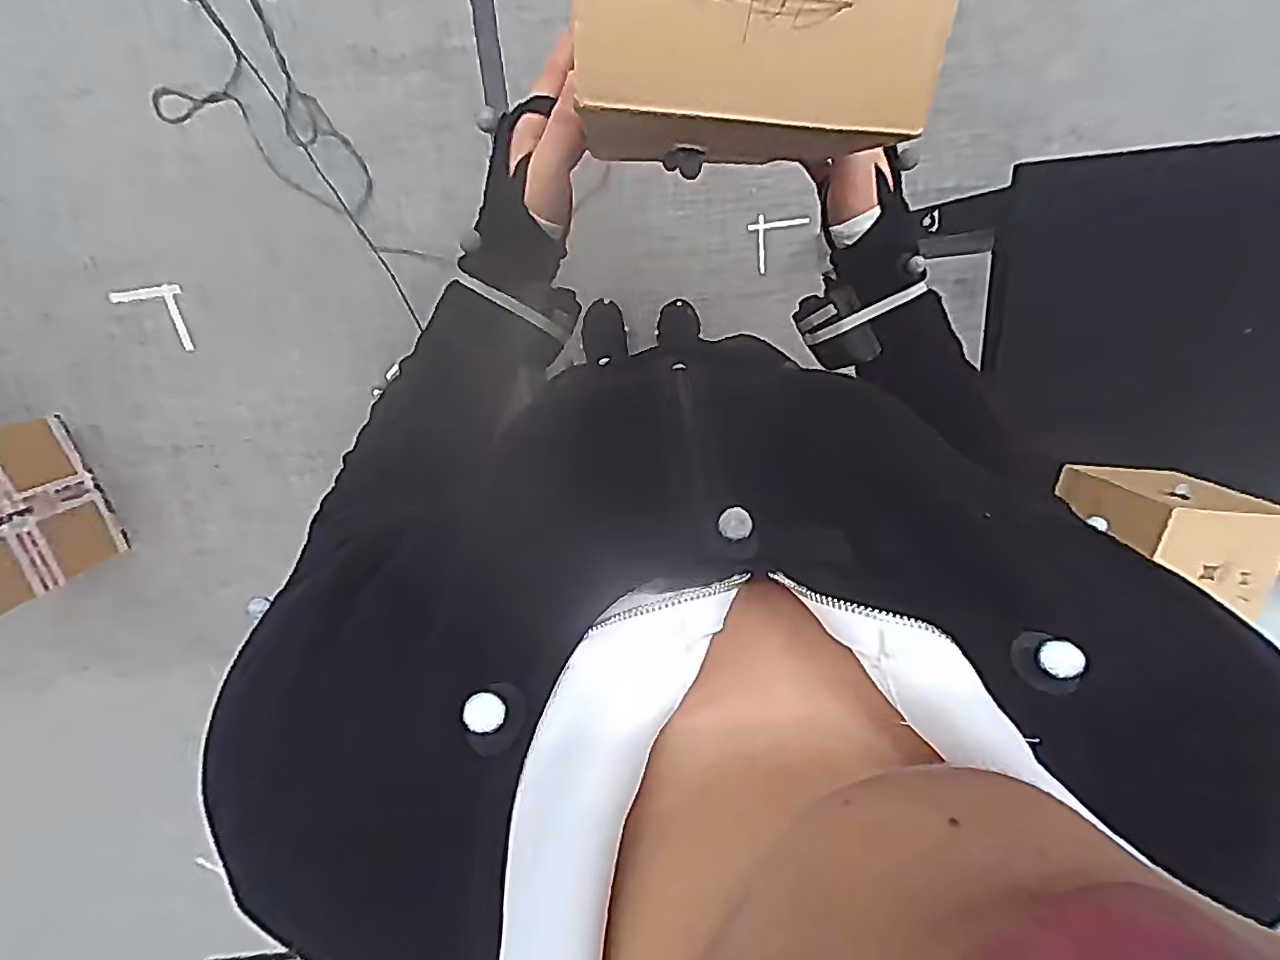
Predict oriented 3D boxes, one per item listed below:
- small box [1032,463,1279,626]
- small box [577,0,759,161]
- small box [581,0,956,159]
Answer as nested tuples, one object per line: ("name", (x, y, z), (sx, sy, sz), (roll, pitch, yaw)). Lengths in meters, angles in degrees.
("small box", (0.693, 0.079, 0.740), (0.179, 0.176, 0.168), (4, 109, -5))
("small box", (0.044, -0.358, 0.432), (0.179, 0.176, 0.168), (1, 116, -2))
("small box", (0.057, -0.283, 0.286), (0.168, 0.176, 0.179), (2, 117, -2))
